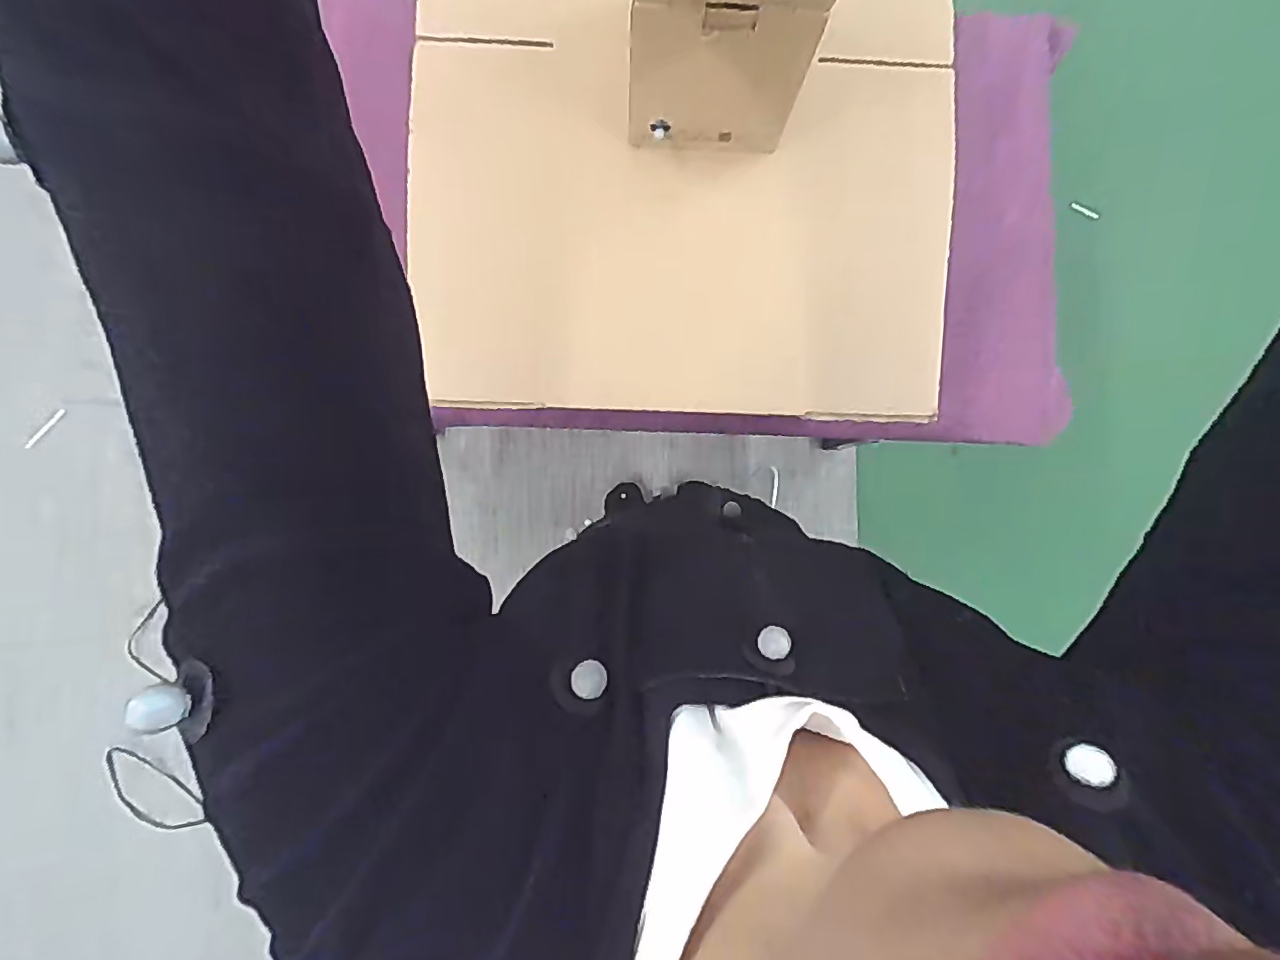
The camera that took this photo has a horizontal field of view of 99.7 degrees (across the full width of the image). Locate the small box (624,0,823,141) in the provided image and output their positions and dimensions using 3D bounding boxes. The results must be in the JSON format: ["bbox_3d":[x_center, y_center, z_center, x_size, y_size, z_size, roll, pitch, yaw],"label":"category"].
[{"bbox_3d":[0.070,-0.466,0.525,0.168,0.176,0.179,2,85,-2],"label":"small box"}]
